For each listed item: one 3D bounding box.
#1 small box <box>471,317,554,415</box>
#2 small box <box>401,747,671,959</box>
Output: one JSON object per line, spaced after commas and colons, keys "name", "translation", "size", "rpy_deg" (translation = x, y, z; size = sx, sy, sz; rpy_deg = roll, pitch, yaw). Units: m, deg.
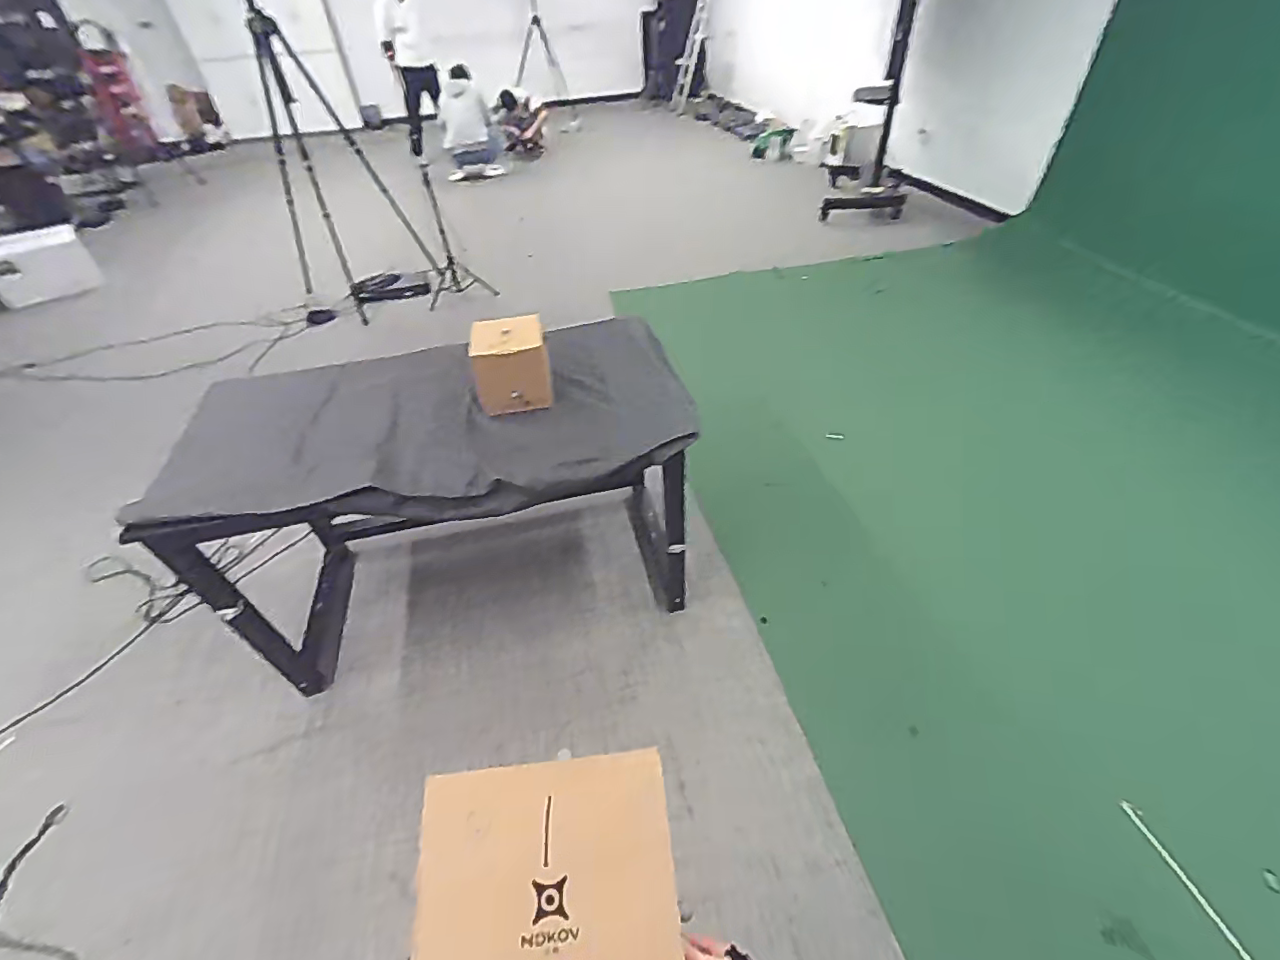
{"name": "small box", "translation": [-0.311, -0.283, 1.341], "size": [0.168, 0.176, 0.179], "rpy_deg": [-9, 43, -5]}
{"name": "small box", "translation": [-0.068, 0.312, 0.405], "size": [0.168, 0.176, 0.179], "rpy_deg": [-4, 58, -7]}
